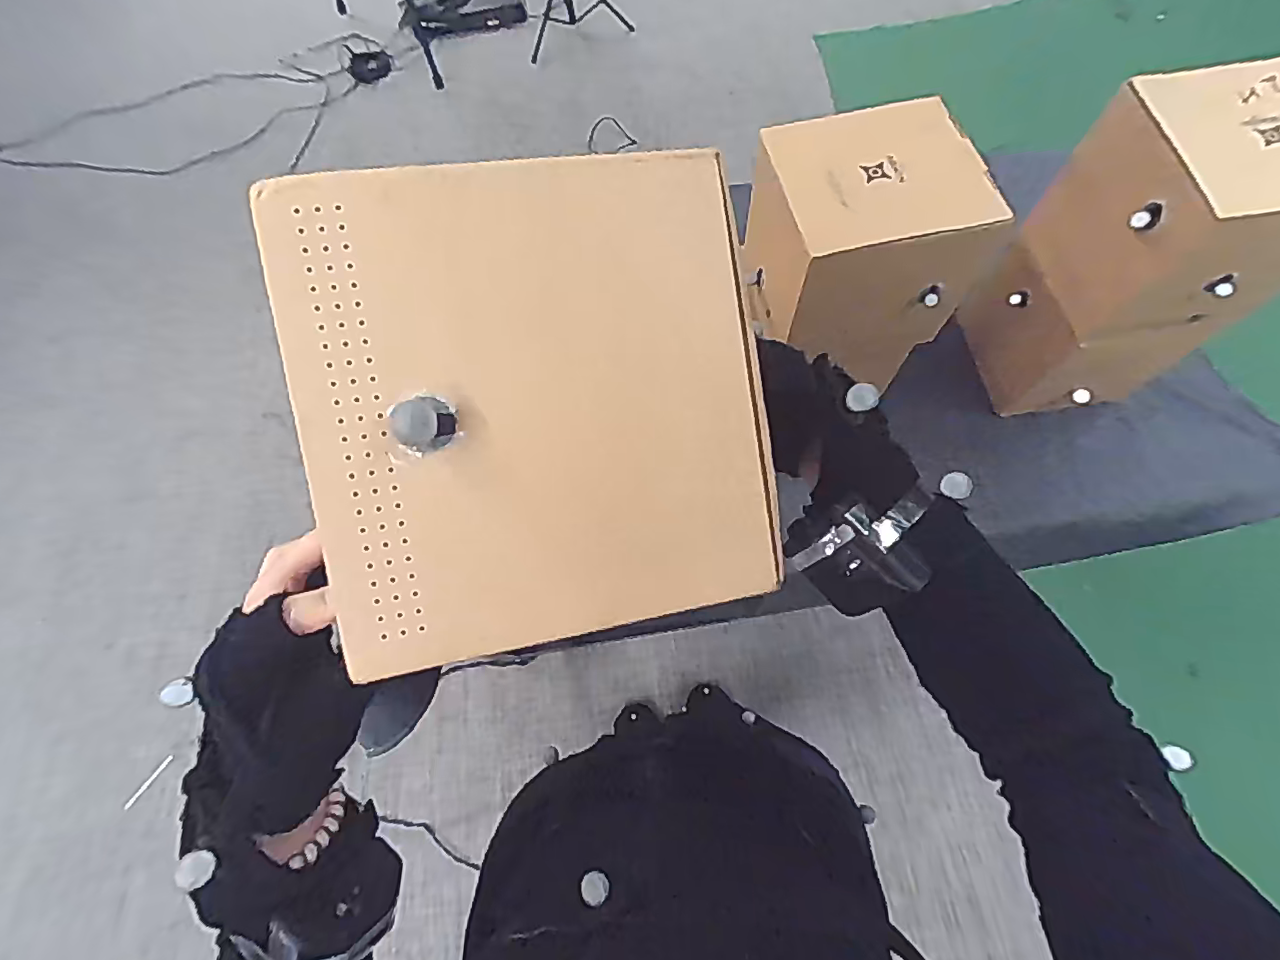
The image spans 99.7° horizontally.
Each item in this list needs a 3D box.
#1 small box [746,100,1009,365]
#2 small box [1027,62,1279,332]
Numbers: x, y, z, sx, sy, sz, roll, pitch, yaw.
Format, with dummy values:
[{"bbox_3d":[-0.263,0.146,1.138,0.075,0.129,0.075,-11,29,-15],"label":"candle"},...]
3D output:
[{"bbox_3d":[0.220,-0.242,0.557,0.179,0.176,0.168,-11,67,1],"label":"small box"},{"bbox_3d":[0.540,-0.266,0.540,0.168,0.176,0.179,-6,68,2],"label":"small box"}]
